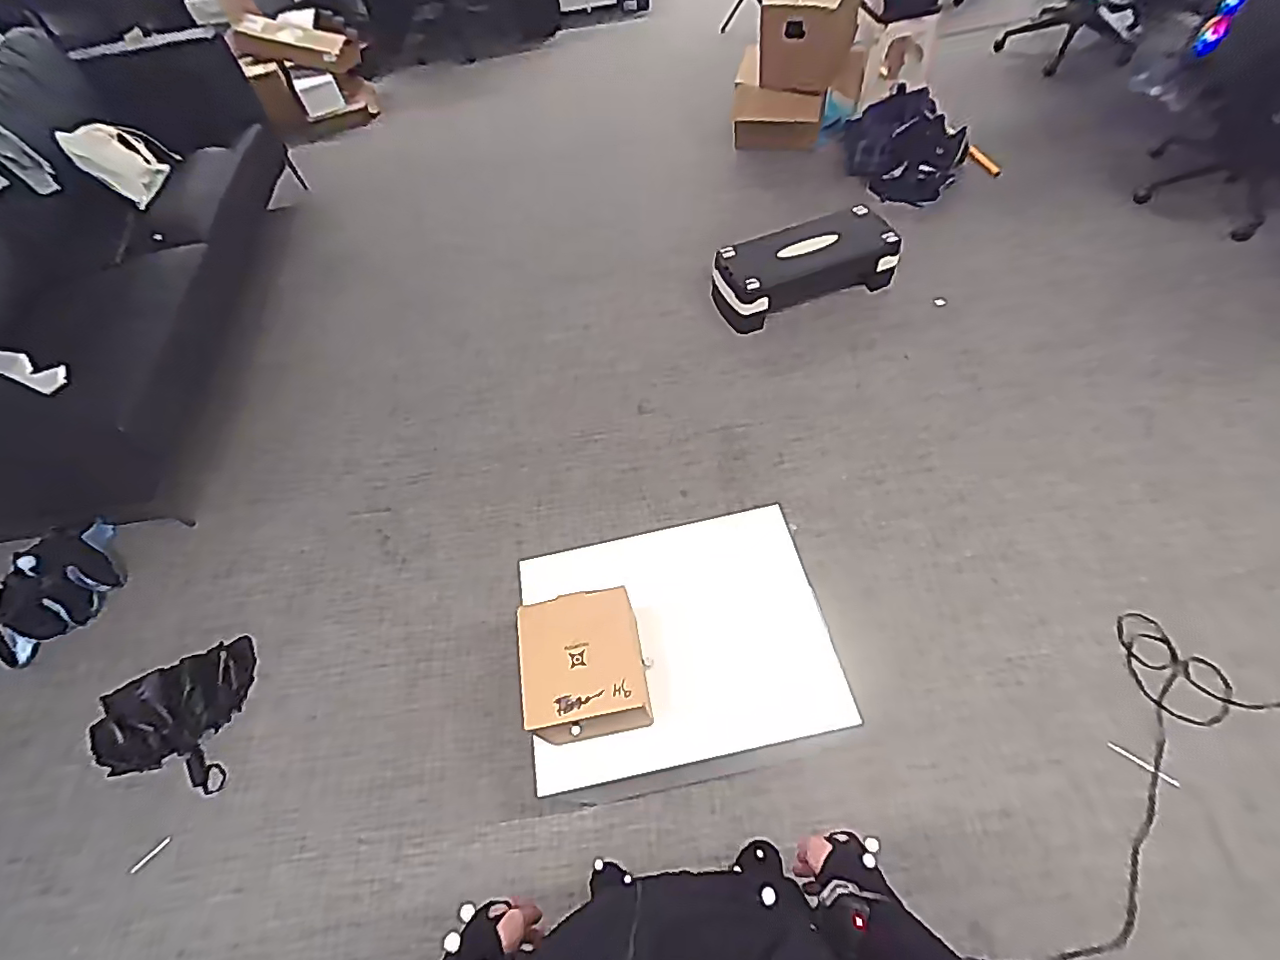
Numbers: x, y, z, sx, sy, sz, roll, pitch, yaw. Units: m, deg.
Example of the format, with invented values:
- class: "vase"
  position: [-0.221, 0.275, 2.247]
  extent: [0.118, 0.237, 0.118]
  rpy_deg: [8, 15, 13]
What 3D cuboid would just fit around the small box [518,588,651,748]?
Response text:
- class: "small box"
  position: [-0.083, 0.291, 0.828]
  extent: [0.168, 0.176, 0.179]
  rpy_deg: [-12, 56, -2]
